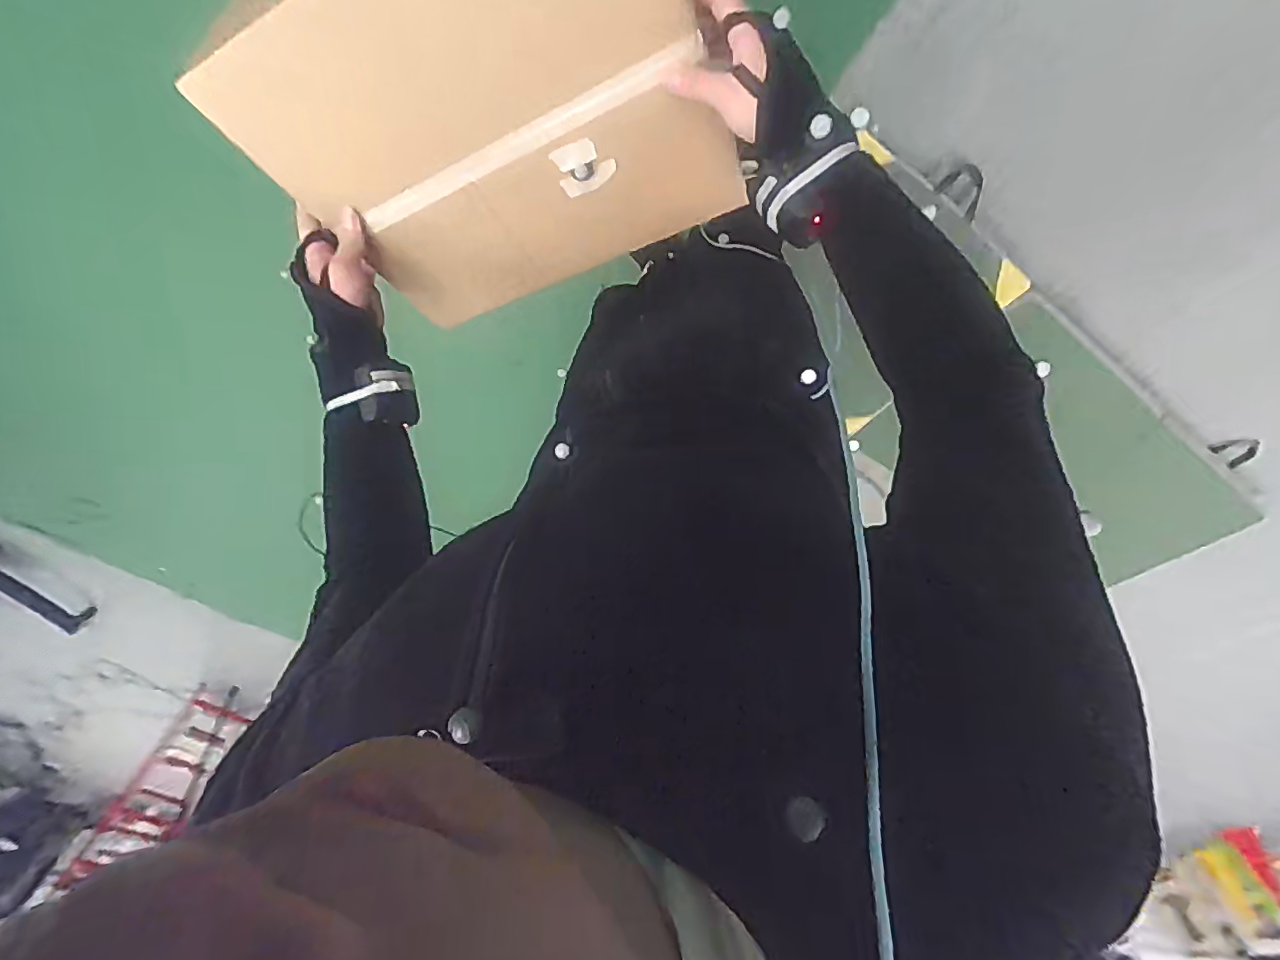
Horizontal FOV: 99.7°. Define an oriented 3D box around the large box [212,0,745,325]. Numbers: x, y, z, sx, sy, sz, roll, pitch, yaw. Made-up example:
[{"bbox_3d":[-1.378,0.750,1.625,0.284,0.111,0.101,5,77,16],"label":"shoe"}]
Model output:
[{"bbox_3d":[-0.137,-0.442,0.588,0.408,0.320,0.320,-14,150,19],"label":"large box"}]
